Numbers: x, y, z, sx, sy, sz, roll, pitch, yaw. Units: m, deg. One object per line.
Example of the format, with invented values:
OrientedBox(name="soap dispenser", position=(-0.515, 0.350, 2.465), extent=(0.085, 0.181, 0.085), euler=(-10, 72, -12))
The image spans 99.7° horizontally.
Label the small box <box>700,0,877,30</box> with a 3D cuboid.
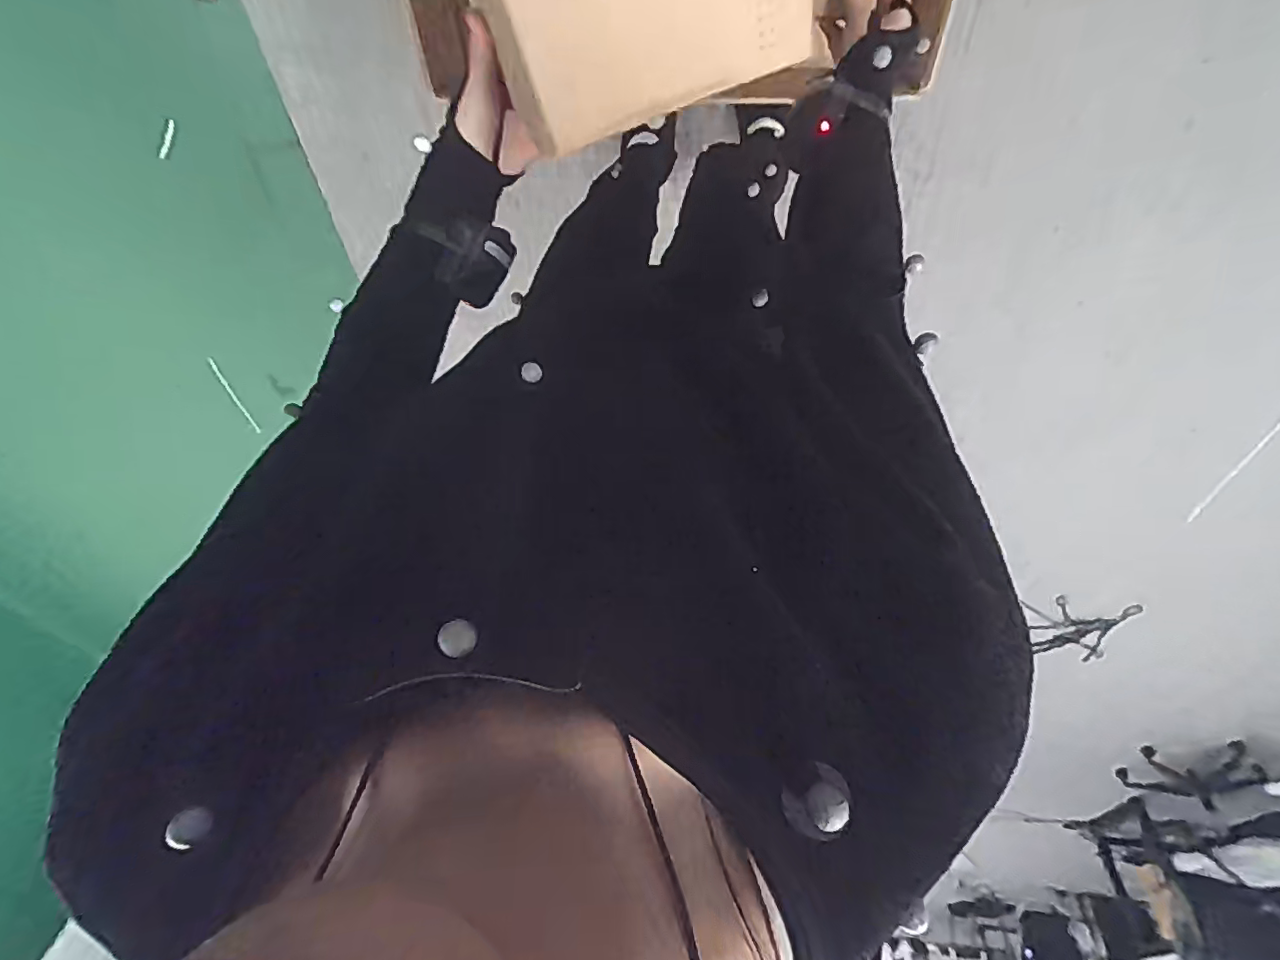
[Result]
OrientedBox(name="small box", position=(0.158, -0.549, 0.519), extent=(0.168, 0.176, 0.179), euler=(10, 133, 15))
